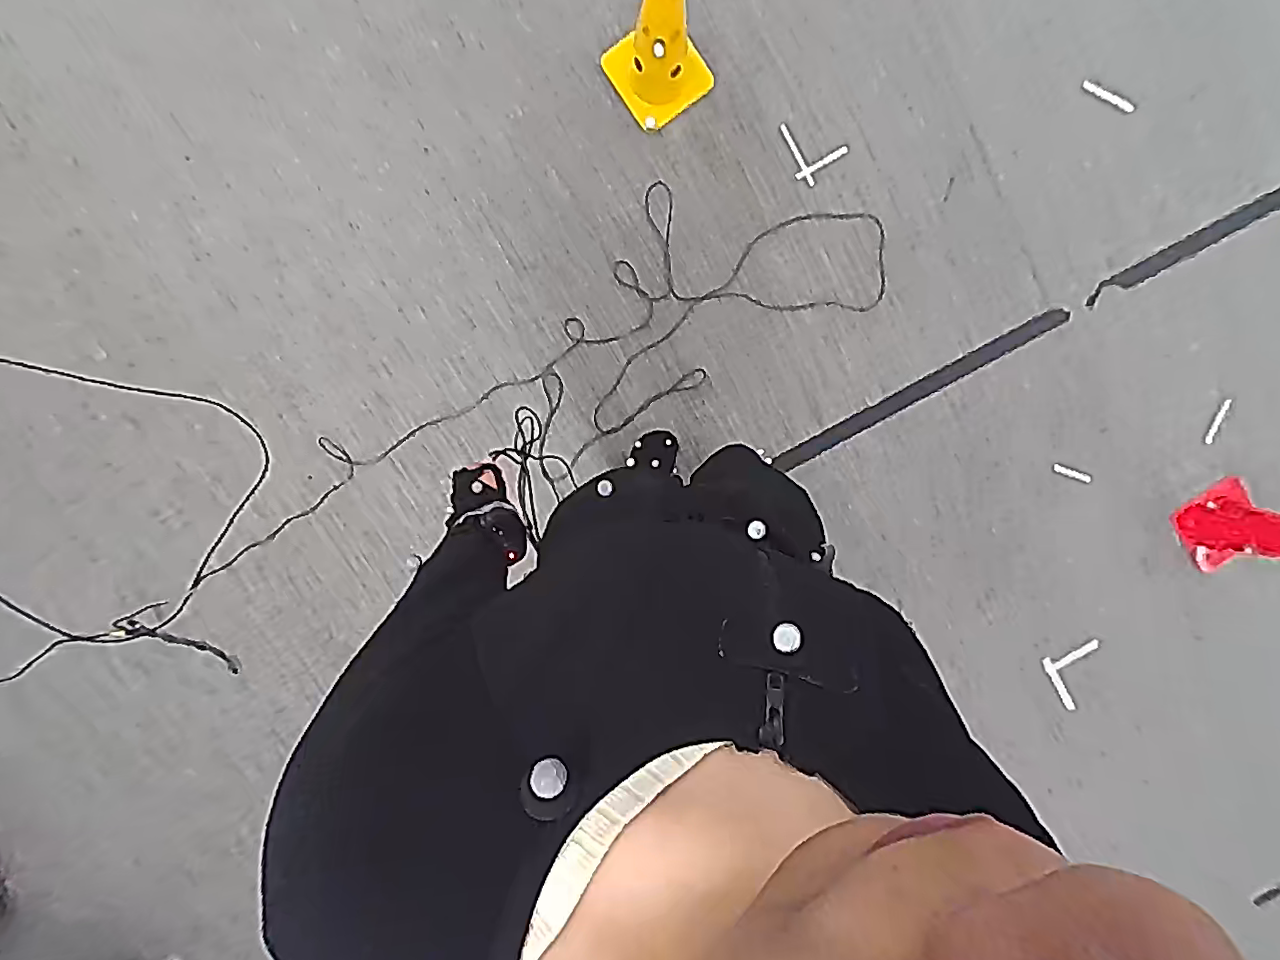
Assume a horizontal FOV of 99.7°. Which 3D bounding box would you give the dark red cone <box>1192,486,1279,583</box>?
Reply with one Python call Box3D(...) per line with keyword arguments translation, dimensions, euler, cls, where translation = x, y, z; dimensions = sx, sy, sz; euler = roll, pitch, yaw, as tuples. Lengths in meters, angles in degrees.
Box3D(translation=(1.534, 0.159, 1.218), dimensions=(0.202, 0.394, 0.201), euler=(-37, 96, 3), cls="dark red cone")
